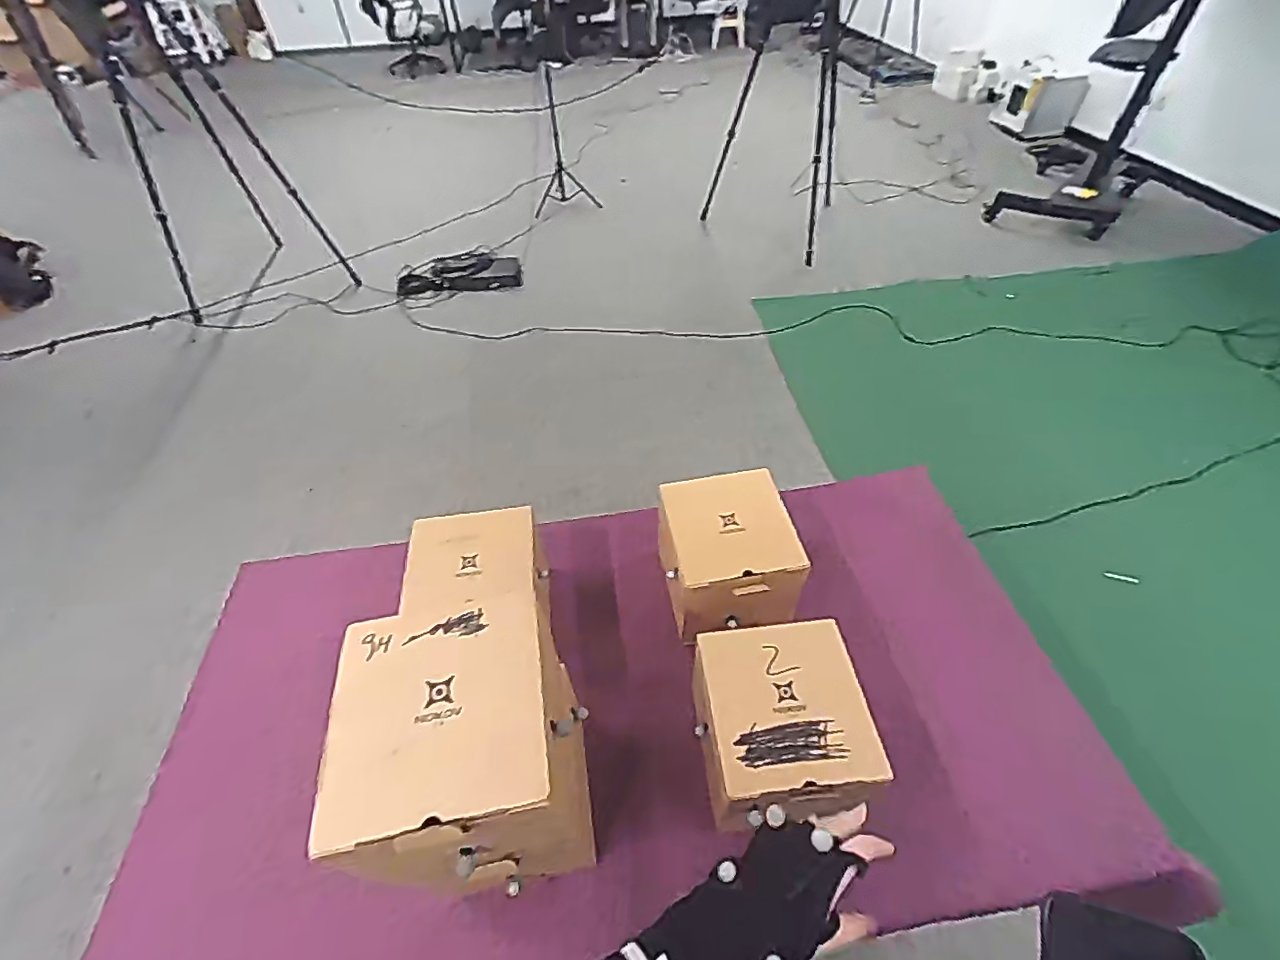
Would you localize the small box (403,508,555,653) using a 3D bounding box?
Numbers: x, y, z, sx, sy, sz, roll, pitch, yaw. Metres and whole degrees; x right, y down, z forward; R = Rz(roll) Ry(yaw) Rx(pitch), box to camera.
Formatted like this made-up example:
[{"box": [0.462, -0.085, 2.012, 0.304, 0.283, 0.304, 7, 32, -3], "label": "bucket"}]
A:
[{"box": [-0.215, 0.166, 0.768, 0.168, 0.176, 0.179, -7, 48, -5], "label": "small box"}]

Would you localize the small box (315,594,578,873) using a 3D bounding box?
[{"box": [-0.153, 0.231, 0.486, 0.168, 0.176, 0.179, -10, 49, -6], "label": "small box"}]

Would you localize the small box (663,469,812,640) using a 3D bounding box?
[{"box": [0.128, 0.111, 0.798, 0.168, 0.176, 0.179, -9, 50, -5], "label": "small box"}]

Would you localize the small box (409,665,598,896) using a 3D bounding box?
[{"box": [-0.144, 0.339, 0.611, 0.168, 0.176, 0.179, -10, 48, -5], "label": "small box"}]
